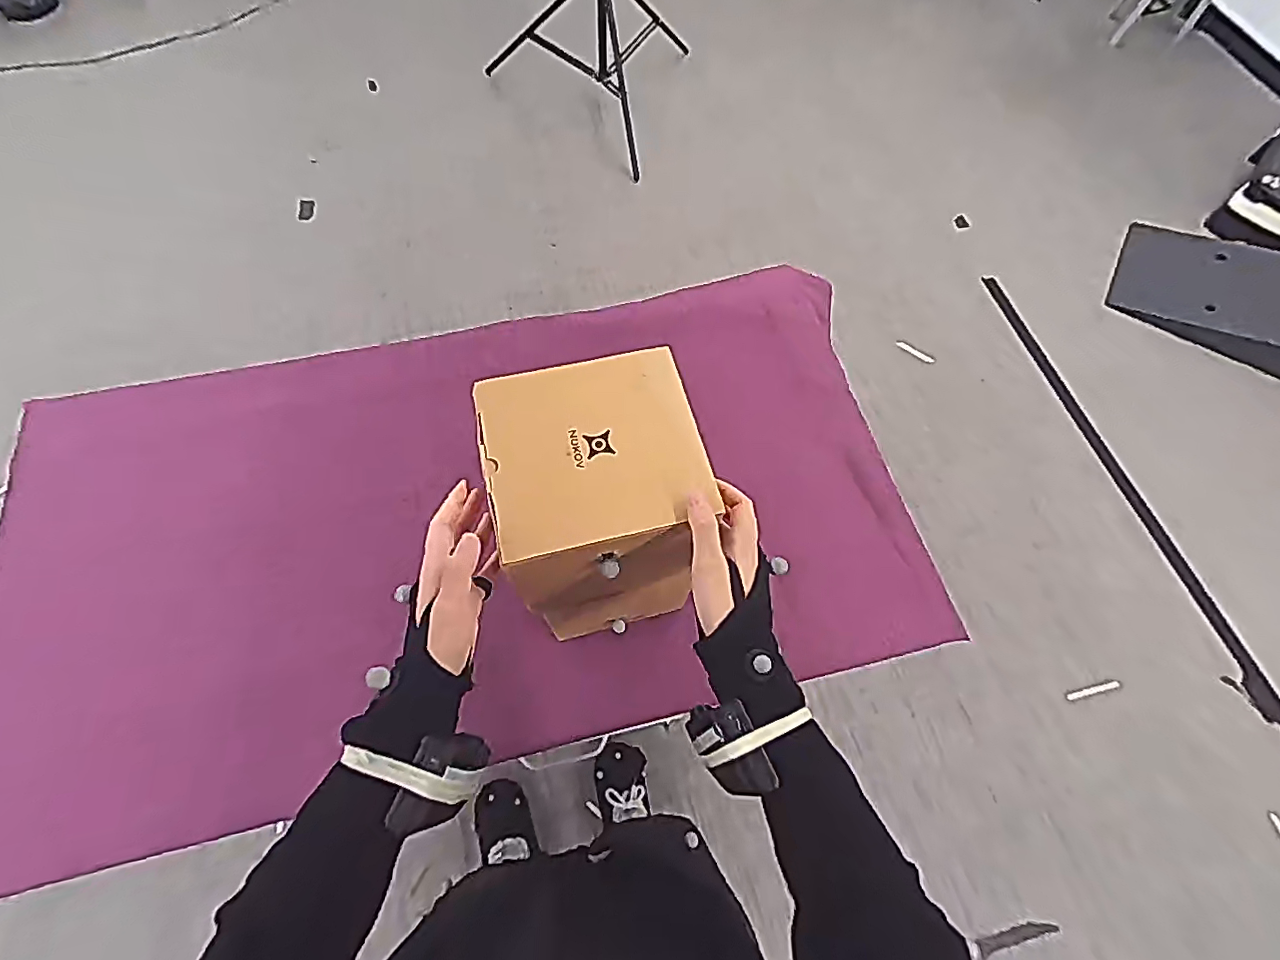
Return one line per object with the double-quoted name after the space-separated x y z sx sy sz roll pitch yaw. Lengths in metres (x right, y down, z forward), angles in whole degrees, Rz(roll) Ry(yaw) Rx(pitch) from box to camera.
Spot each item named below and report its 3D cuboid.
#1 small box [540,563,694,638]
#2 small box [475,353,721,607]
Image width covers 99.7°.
-0.045 0.077 0.660 0.168 0.176 0.179 -13 67 -8 "small box"
-0.041 0.009 0.513 0.179 0.176 0.168 -13 66 -7 "small box"
